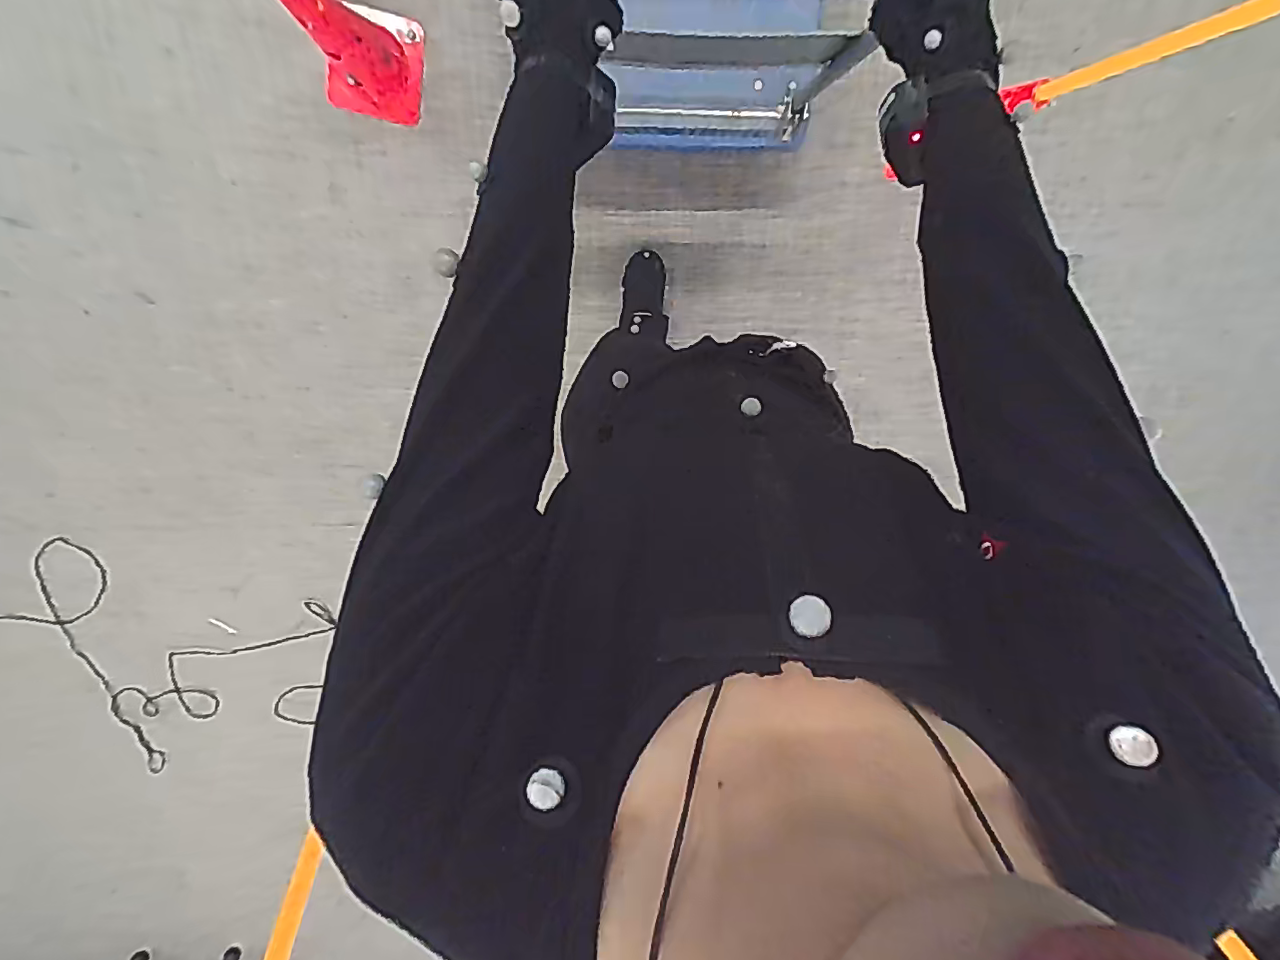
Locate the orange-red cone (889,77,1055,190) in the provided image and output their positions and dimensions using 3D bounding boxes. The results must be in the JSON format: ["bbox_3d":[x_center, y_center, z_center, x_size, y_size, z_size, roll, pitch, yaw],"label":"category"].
[{"bbox_3d":[0.711,-0.747,1.116,0.198,0.360,0.199,10,110,-5],"label":"orange-red cone"}]
